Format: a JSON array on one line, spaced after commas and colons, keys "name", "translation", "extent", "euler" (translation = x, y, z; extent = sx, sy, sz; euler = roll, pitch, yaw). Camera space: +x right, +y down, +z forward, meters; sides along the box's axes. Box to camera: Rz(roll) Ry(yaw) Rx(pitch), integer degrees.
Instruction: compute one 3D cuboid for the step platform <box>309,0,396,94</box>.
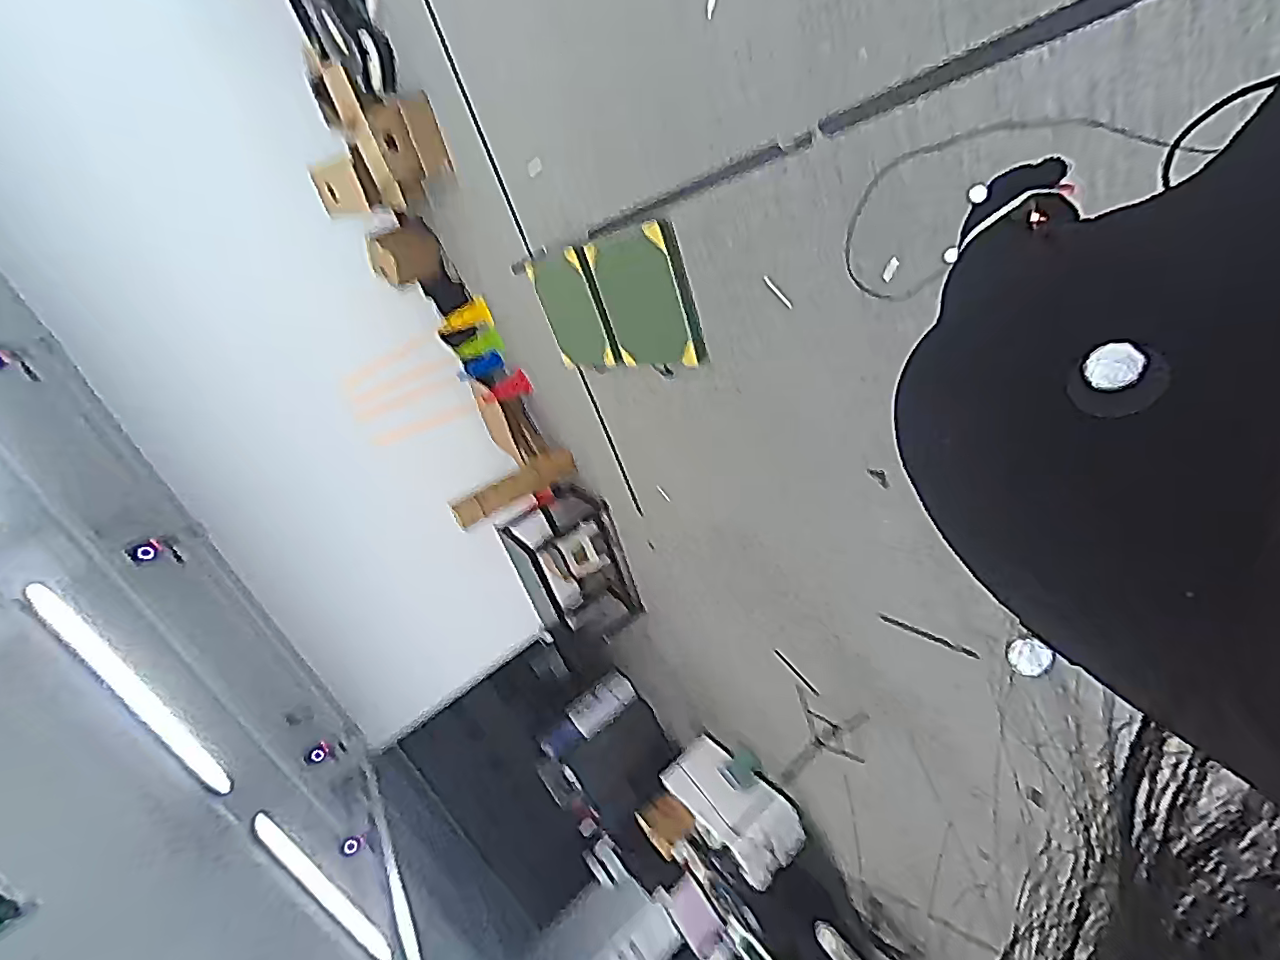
[{"name": "step platform", "translation": [-1.752, -2.715, 3.273], "extent": [0.684, 0.204, 0.286], "euler": [55, 154, 3]}]
